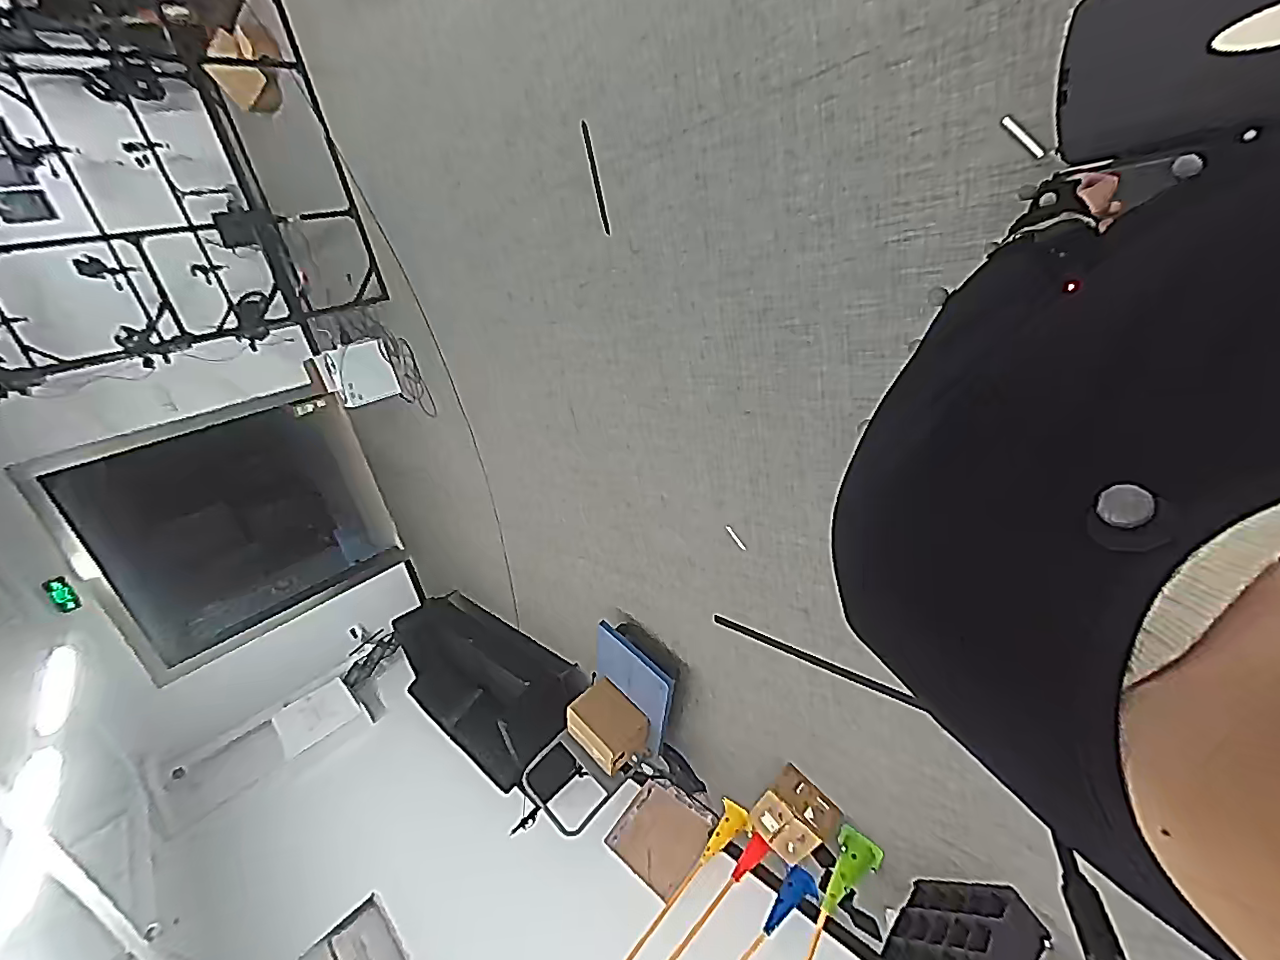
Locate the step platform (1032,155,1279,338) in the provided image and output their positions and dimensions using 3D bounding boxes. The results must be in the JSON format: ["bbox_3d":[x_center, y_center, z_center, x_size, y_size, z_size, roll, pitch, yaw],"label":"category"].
[{"bbox_3d":[1.091,-0.399,0.919,0.684,0.204,0.286,19,126,44],"label":"step platform"}]
